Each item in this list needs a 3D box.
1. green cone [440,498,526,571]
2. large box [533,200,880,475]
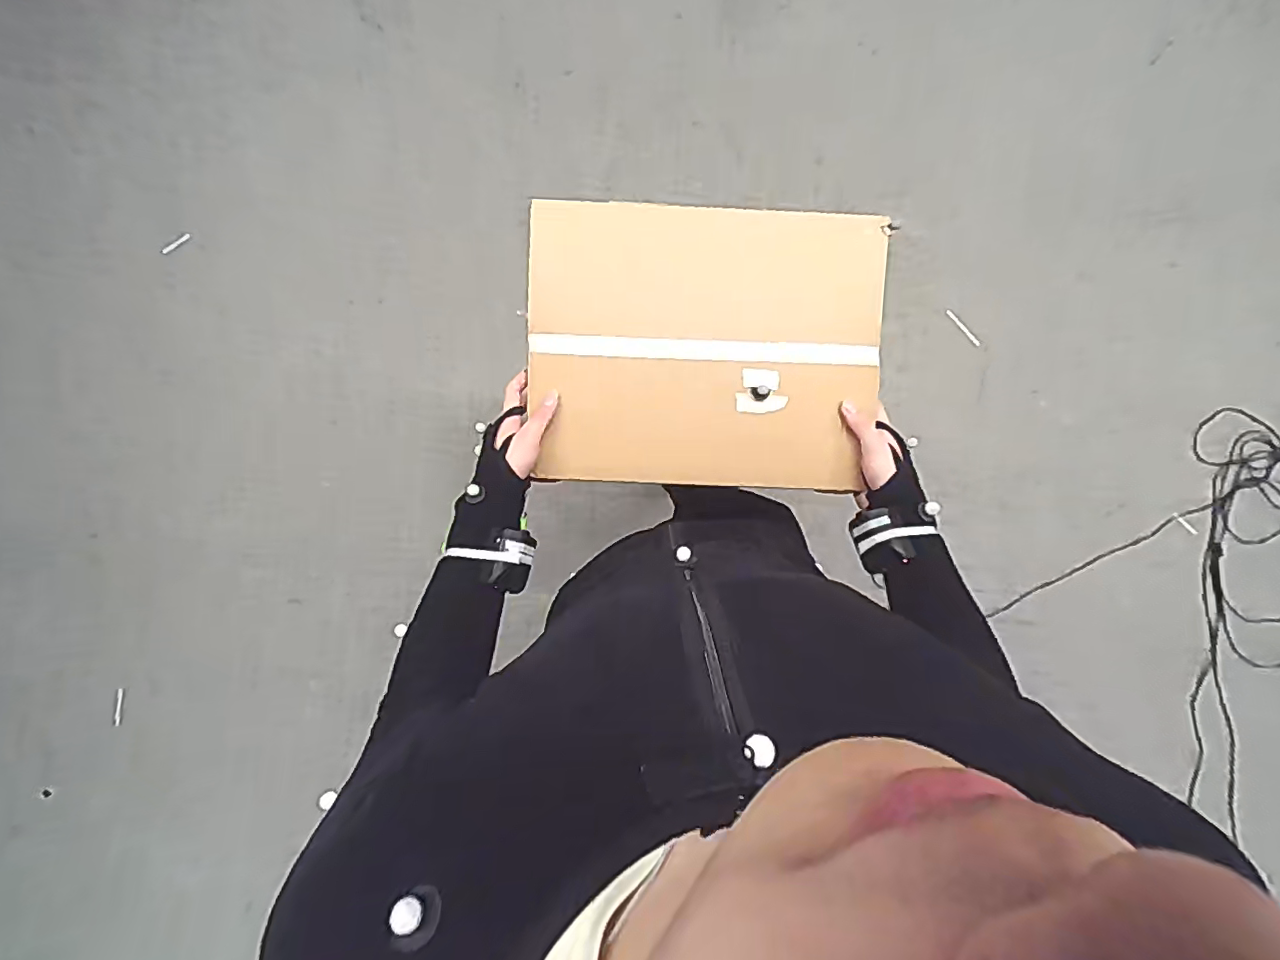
[{"bbox_3d":[-0.453,0.165,1.447,0.200,0.368,0.202,10,91,0],"label":"green cone"},{"bbox_3d":[0.070,-0.176,0.778,0.408,0.320,0.320,1,97,-2],"label":"large box"}]
